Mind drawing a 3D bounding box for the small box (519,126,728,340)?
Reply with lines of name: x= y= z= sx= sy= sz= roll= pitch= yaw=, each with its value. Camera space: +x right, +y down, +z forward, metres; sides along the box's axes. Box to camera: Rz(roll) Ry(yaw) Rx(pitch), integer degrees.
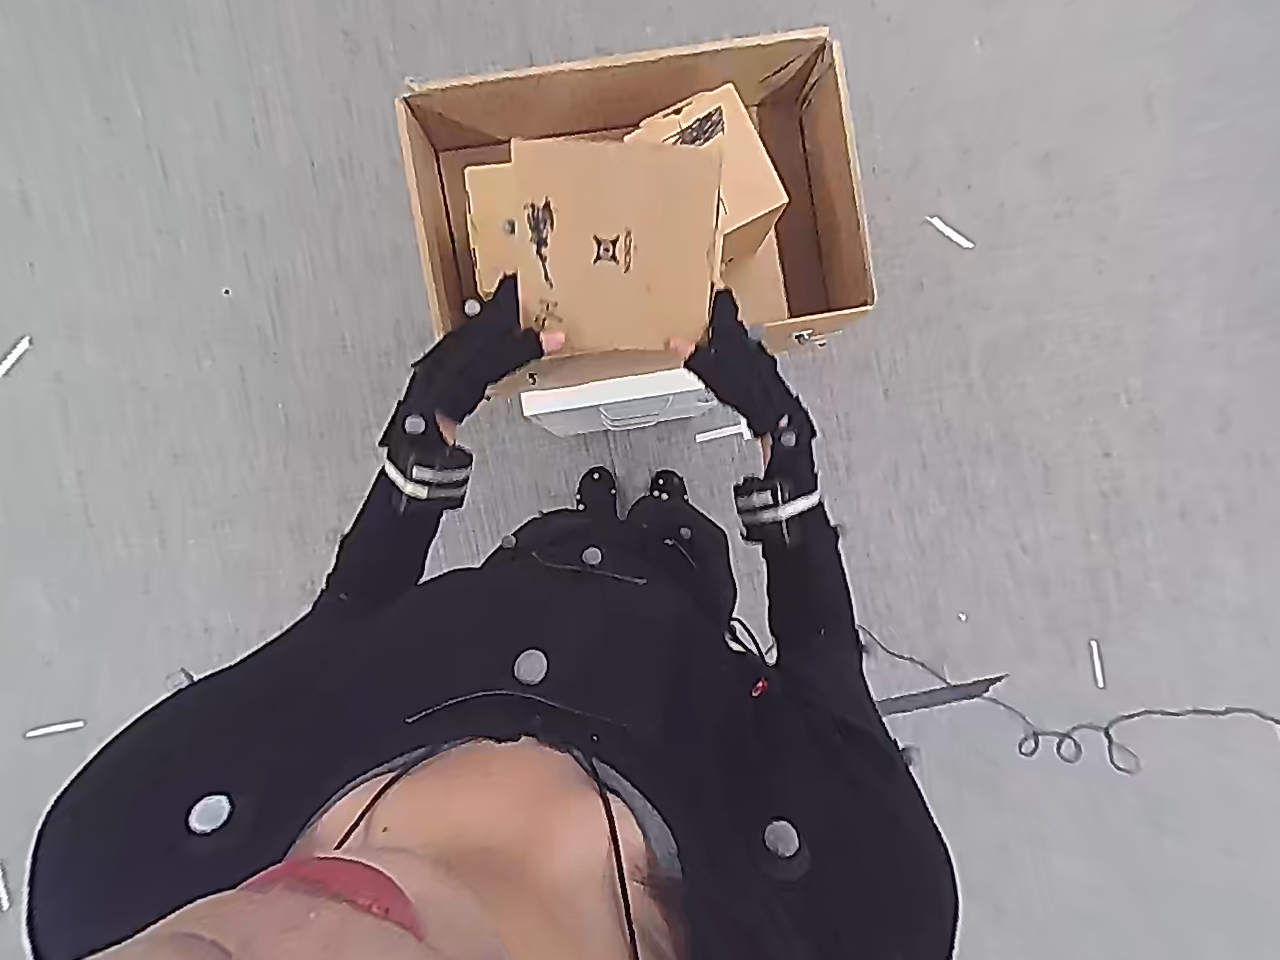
small box: x=-0.021 y=-0.237 z=0.545 sx=0.179 sy=0.176 sz=0.168 roll=0 pitch=111 yaw=-4
